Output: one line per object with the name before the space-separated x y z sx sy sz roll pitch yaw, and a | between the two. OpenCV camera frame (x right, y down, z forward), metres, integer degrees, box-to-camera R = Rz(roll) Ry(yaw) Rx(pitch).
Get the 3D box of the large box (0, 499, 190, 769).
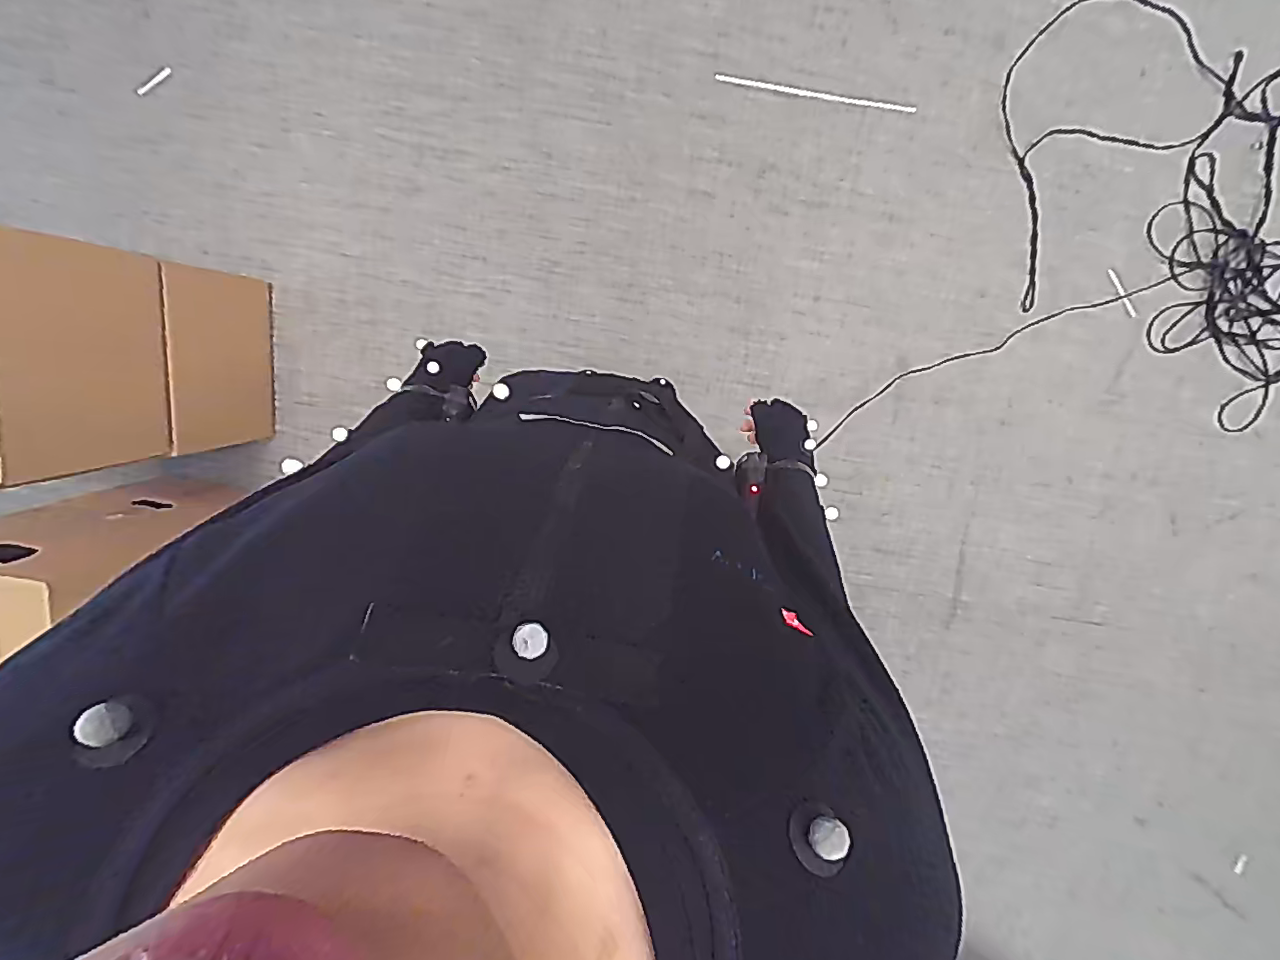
large box | -1.179 0.285 1.086 0.320 0.320 0.408 9 102 -3
